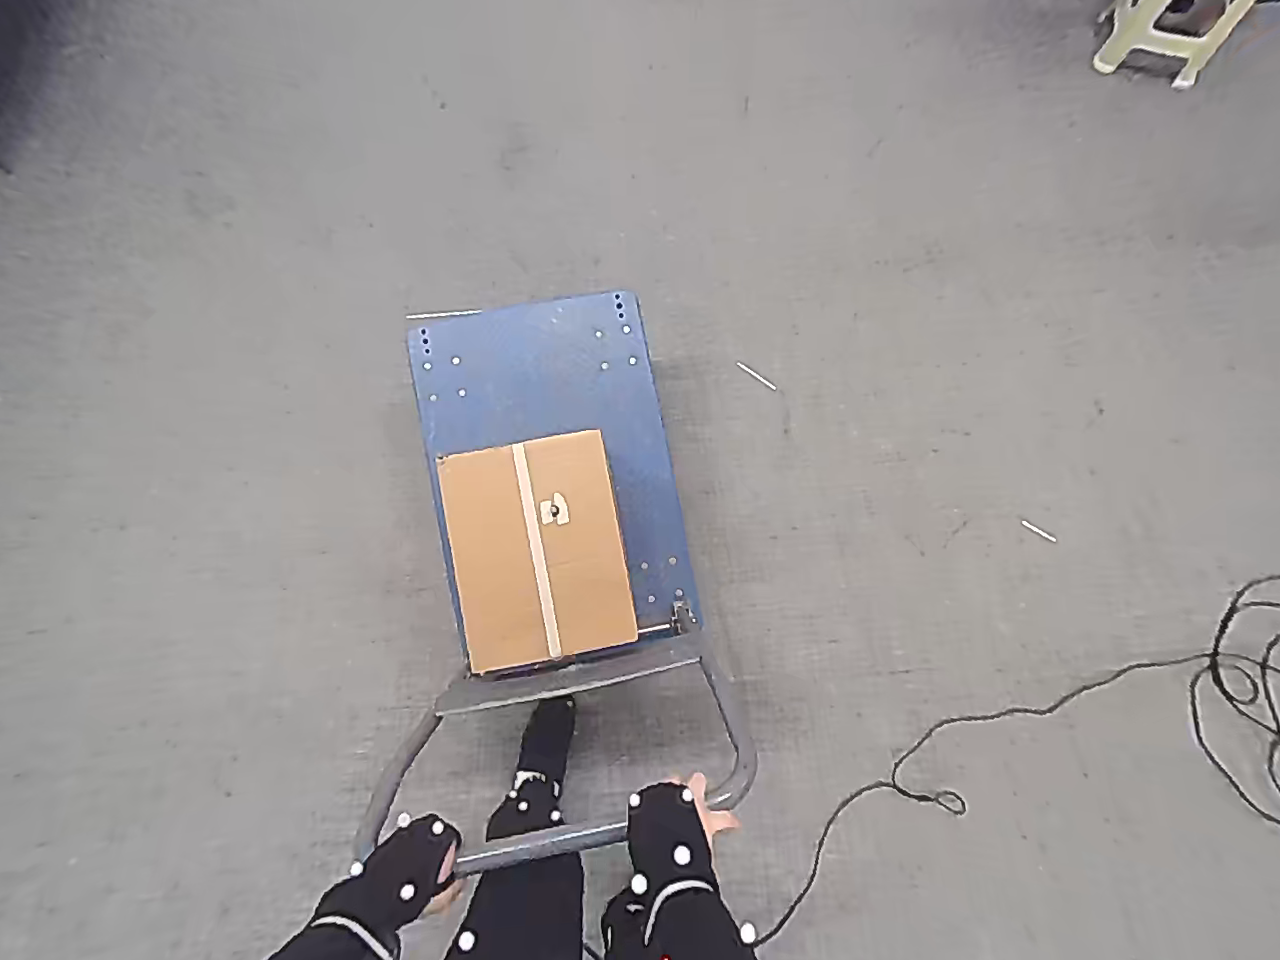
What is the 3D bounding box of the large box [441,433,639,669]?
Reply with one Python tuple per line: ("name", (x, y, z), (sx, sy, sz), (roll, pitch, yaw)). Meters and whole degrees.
("large box", (-0.194, 0.142, 1.172), (0.320, 0.320, 0.408), (-11, 86, -3))
